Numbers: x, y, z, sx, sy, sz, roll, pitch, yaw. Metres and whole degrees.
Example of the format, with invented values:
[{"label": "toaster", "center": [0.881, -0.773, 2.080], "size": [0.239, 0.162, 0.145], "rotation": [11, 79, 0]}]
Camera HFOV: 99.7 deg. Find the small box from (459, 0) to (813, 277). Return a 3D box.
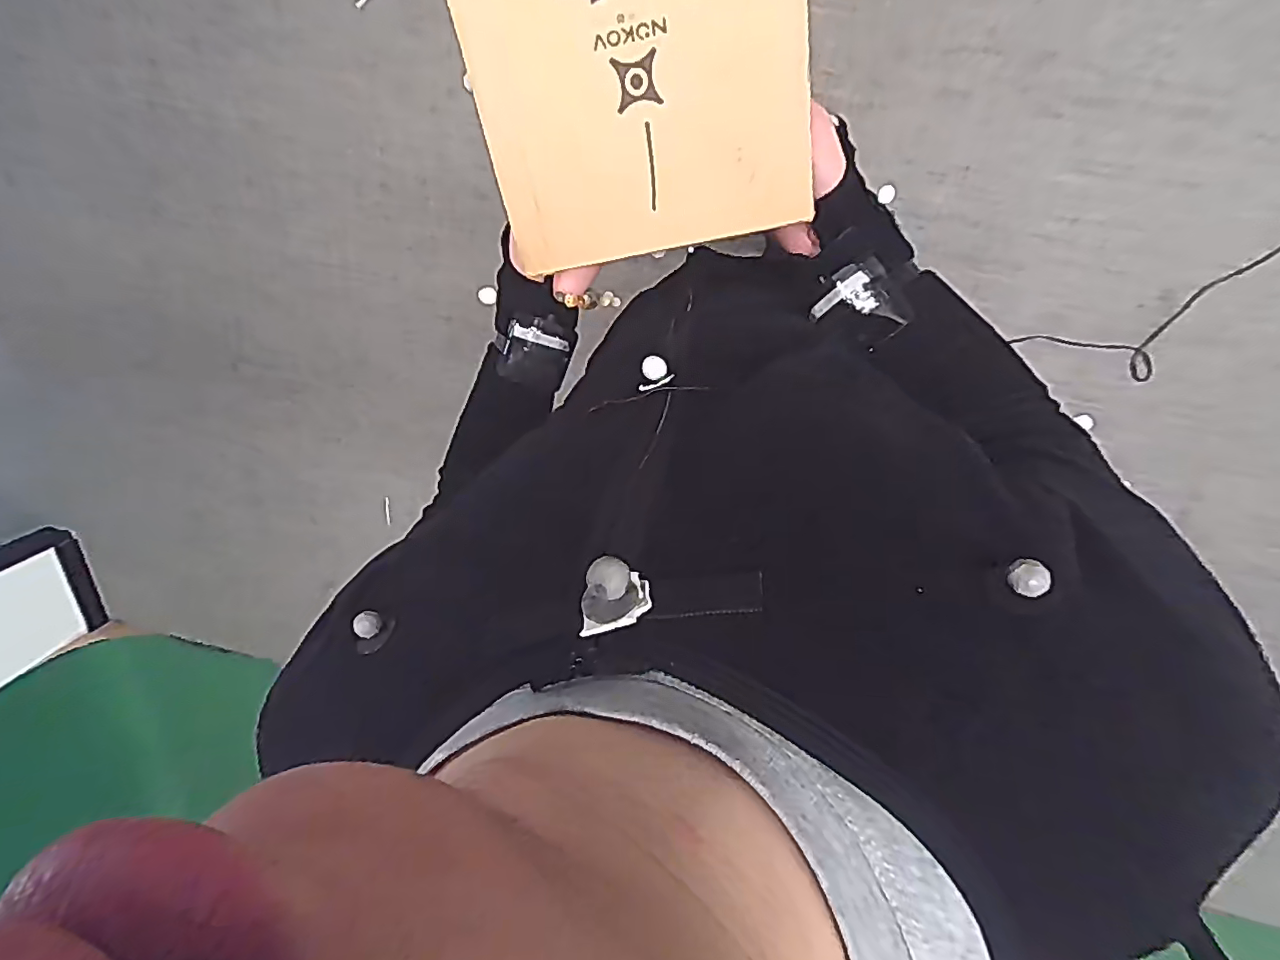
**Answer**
[{"label": "small box", "center": [0.003, -0.243, 0.336], "size": [0.168, 0.176, 0.179], "rotation": [-8, 120, 7]}]
